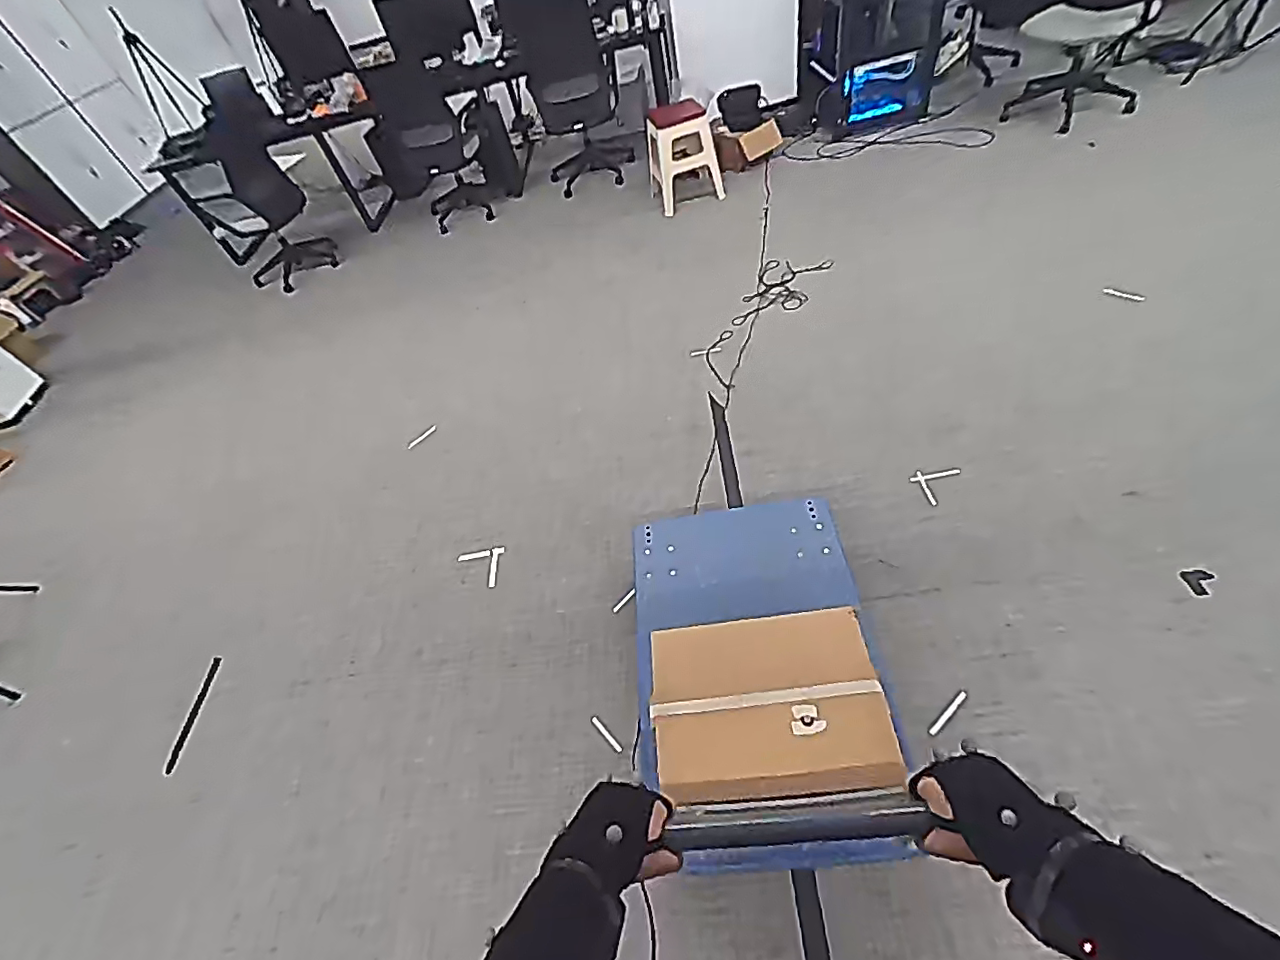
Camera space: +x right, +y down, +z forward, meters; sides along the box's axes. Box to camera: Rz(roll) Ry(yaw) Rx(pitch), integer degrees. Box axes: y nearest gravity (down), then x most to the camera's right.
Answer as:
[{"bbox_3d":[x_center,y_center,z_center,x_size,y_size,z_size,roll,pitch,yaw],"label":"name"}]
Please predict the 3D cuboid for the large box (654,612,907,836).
[{"bbox_3d":[0.257,0.504,1.099,0.408,0.320,0.320,-9,50,7],"label":"large box"}]
